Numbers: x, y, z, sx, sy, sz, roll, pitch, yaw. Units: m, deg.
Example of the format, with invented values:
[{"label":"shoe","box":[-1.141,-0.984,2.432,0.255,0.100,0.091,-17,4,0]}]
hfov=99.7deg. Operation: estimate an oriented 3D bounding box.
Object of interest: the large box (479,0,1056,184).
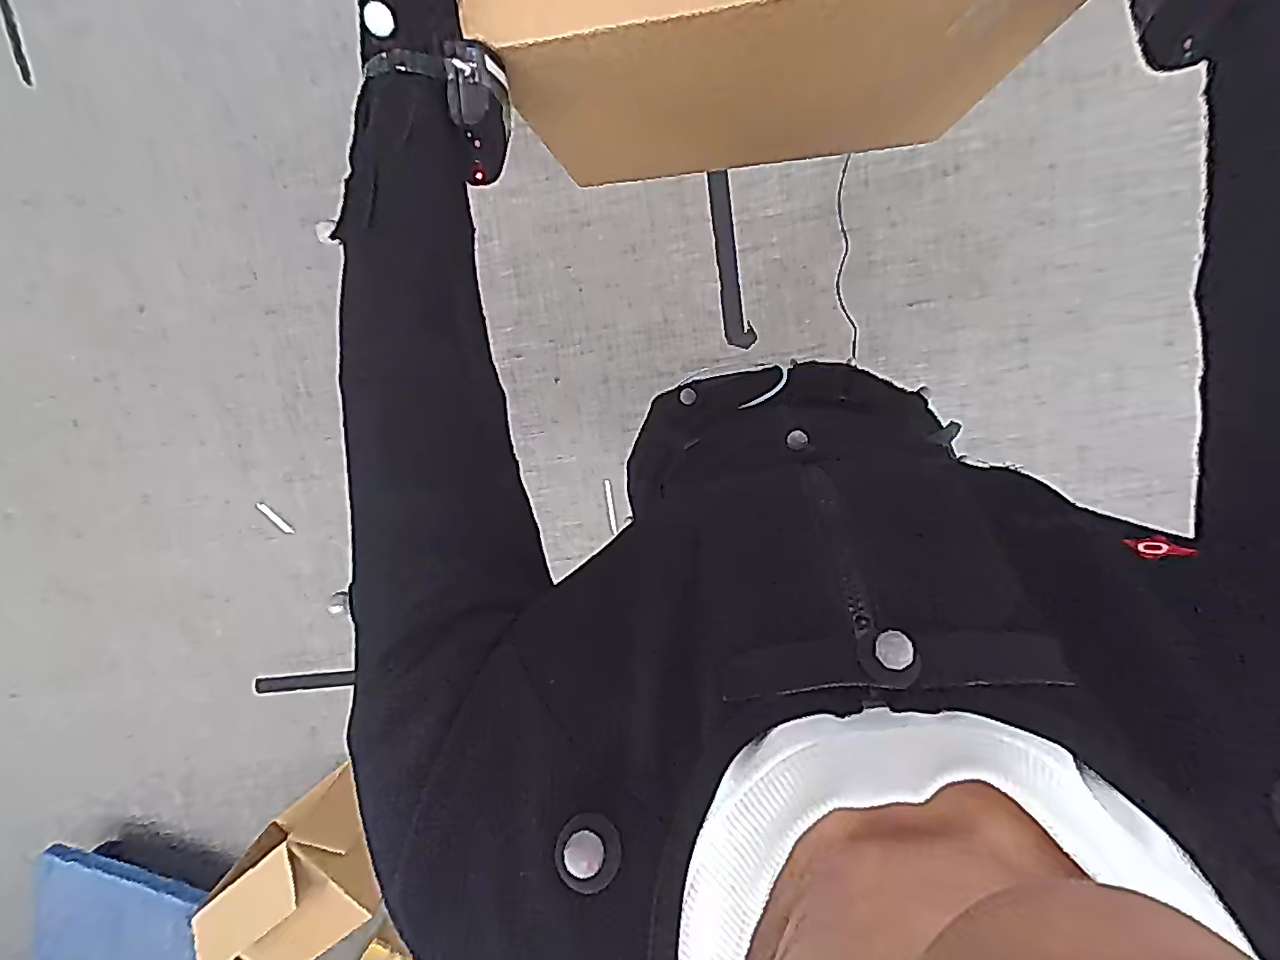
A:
[{"label":"large box","box":[0.092,-0.480,0.444,0.408,0.320,0.320,-4,103,7]}]
